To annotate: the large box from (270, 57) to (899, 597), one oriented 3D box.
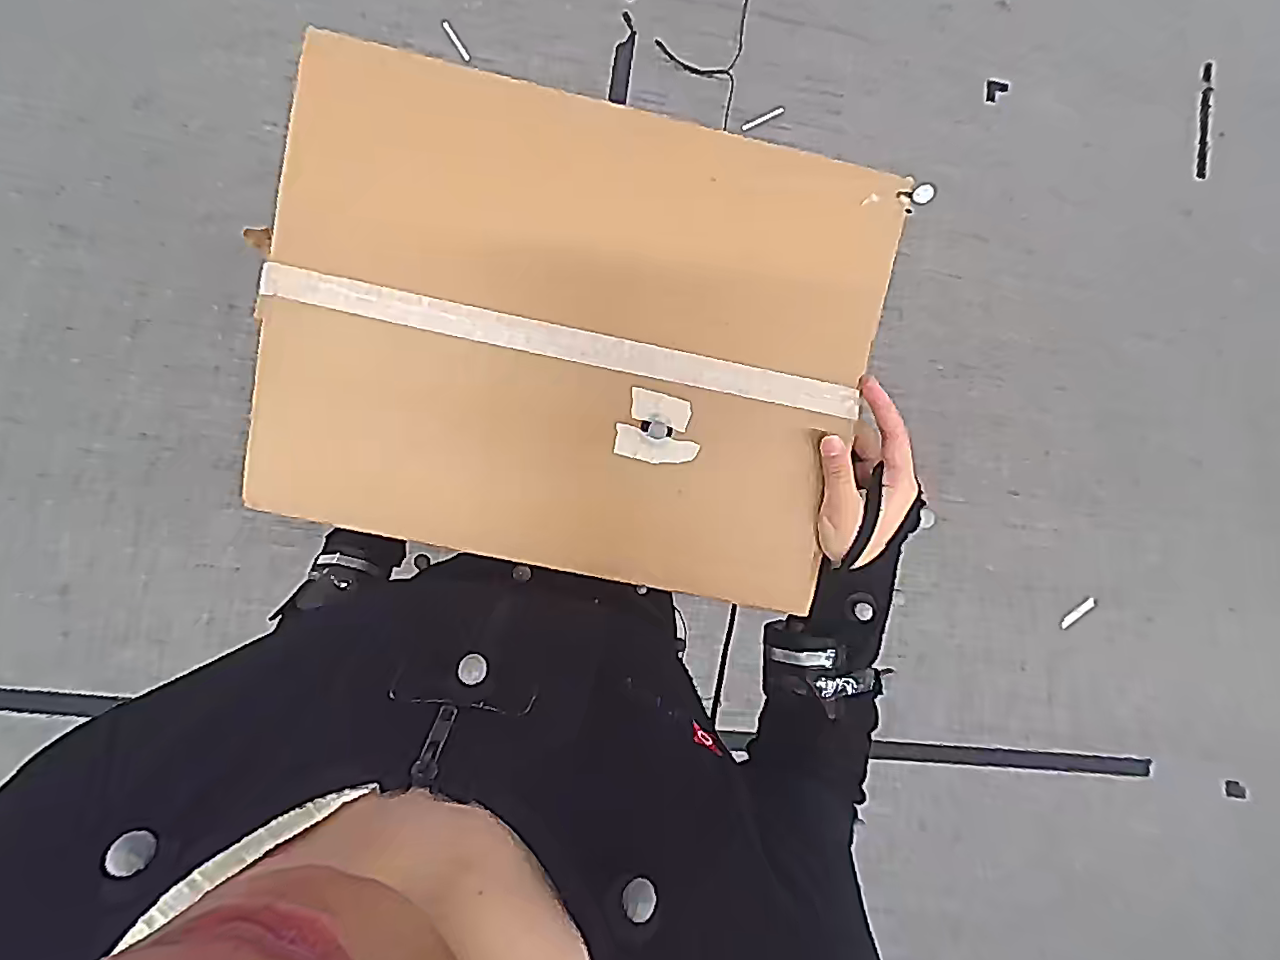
[{"bbox_3d":[-0.049,-0.109,0.525,0.408,0.320,0.320,11,96,-5],"label":"large box"}]
